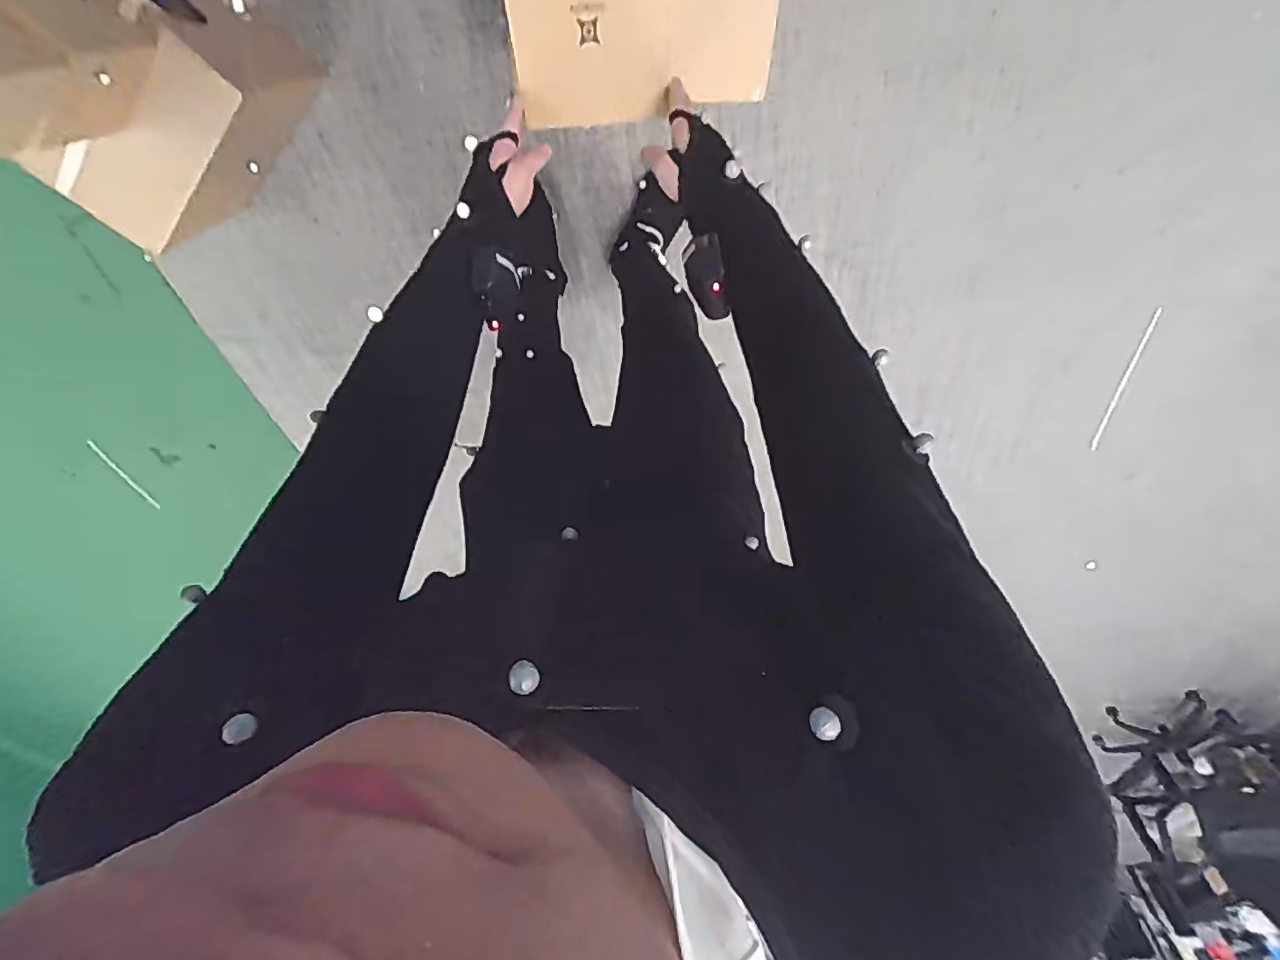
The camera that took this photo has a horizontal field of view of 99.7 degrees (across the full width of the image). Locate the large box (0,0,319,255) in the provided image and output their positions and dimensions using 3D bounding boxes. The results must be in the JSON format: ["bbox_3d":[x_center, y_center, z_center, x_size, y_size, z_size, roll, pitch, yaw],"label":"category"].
[{"bbox_3d":[-0.881,-0.716,0.989,0.408,0.320,0.320,-33,124,28],"label":"large box"}]

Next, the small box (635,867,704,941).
[{"bbox_3d":[0.096,1.438,1.835,0.168,0.176,0.179,25,128,-19],"label":"small box"}]

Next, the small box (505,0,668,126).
[{"bbox_3d":[-0.052,-0.523,0.609,0.168,0.176,0.179,-3,132,3],"label":"small box"}]

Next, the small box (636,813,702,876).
[{"bbox_3d":[0.102,1.325,1.953,0.179,0.176,0.168,25,129,-20],"label":"small box"}]
